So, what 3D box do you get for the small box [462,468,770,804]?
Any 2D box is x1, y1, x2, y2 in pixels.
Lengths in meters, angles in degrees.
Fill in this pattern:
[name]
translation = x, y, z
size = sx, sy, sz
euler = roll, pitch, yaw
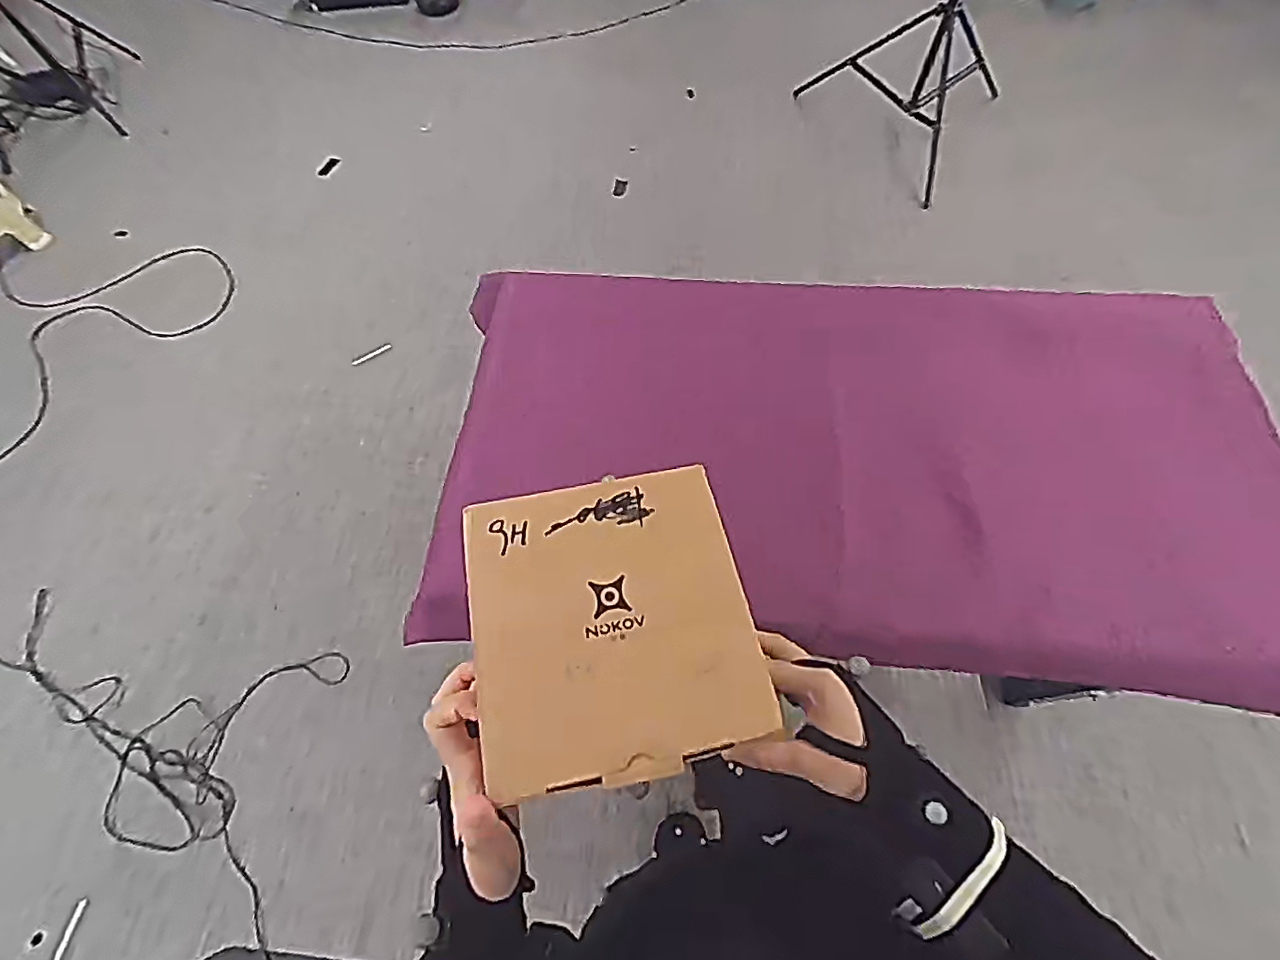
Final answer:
[small box]
translation = -0.024, 0.116, 0.402
size = 0.168, 0.176, 0.179
euler = -10, 64, -8
